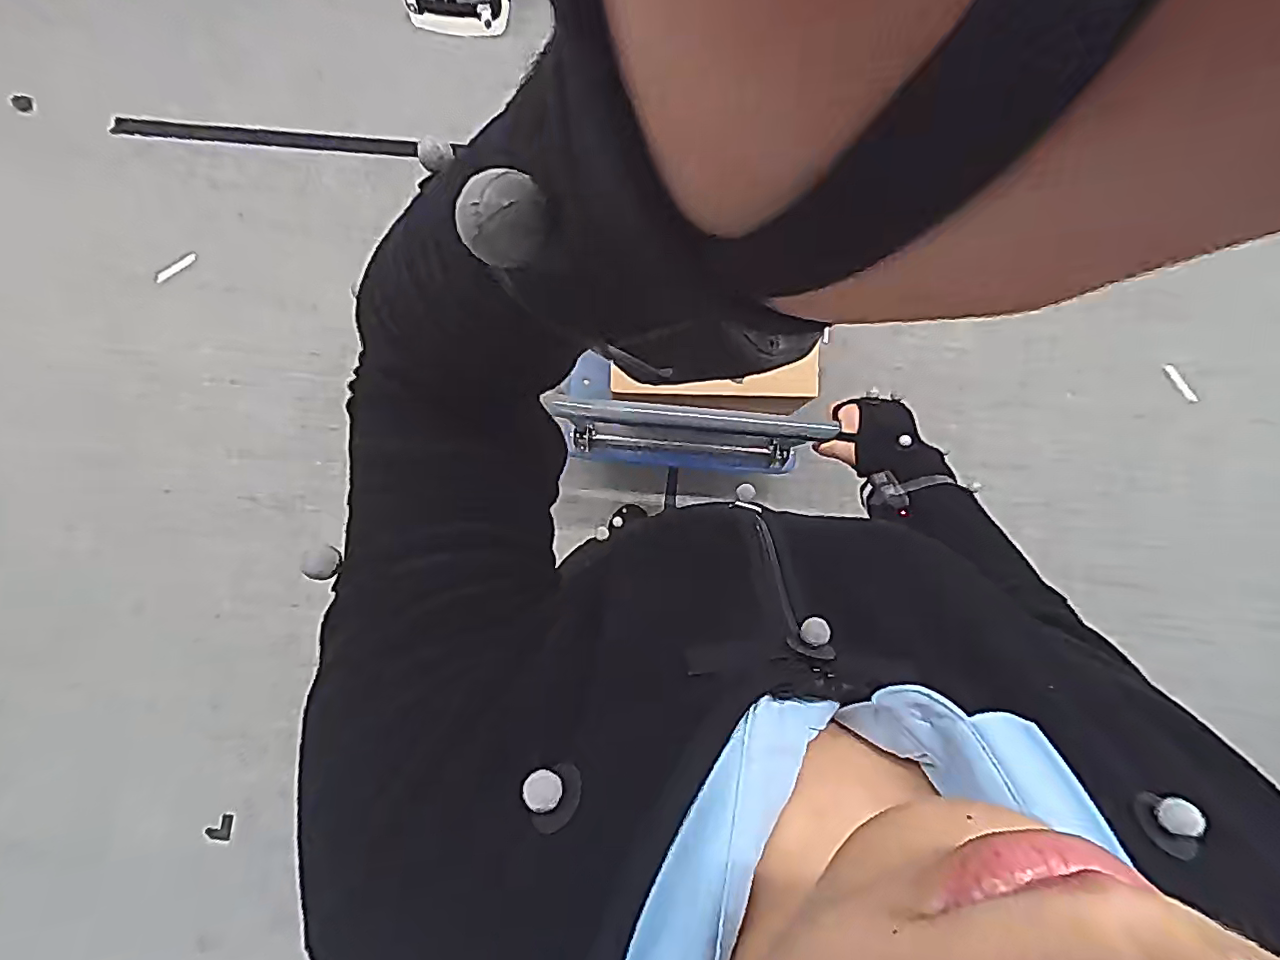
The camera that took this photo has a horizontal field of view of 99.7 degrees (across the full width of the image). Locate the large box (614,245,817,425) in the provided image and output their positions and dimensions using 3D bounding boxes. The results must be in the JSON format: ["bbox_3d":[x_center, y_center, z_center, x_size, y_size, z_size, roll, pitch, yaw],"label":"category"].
[{"bbox_3d":[0.144,-0.302,1.214,0.408,0.320,0.320,1,86,-2],"label":"large box"}]
